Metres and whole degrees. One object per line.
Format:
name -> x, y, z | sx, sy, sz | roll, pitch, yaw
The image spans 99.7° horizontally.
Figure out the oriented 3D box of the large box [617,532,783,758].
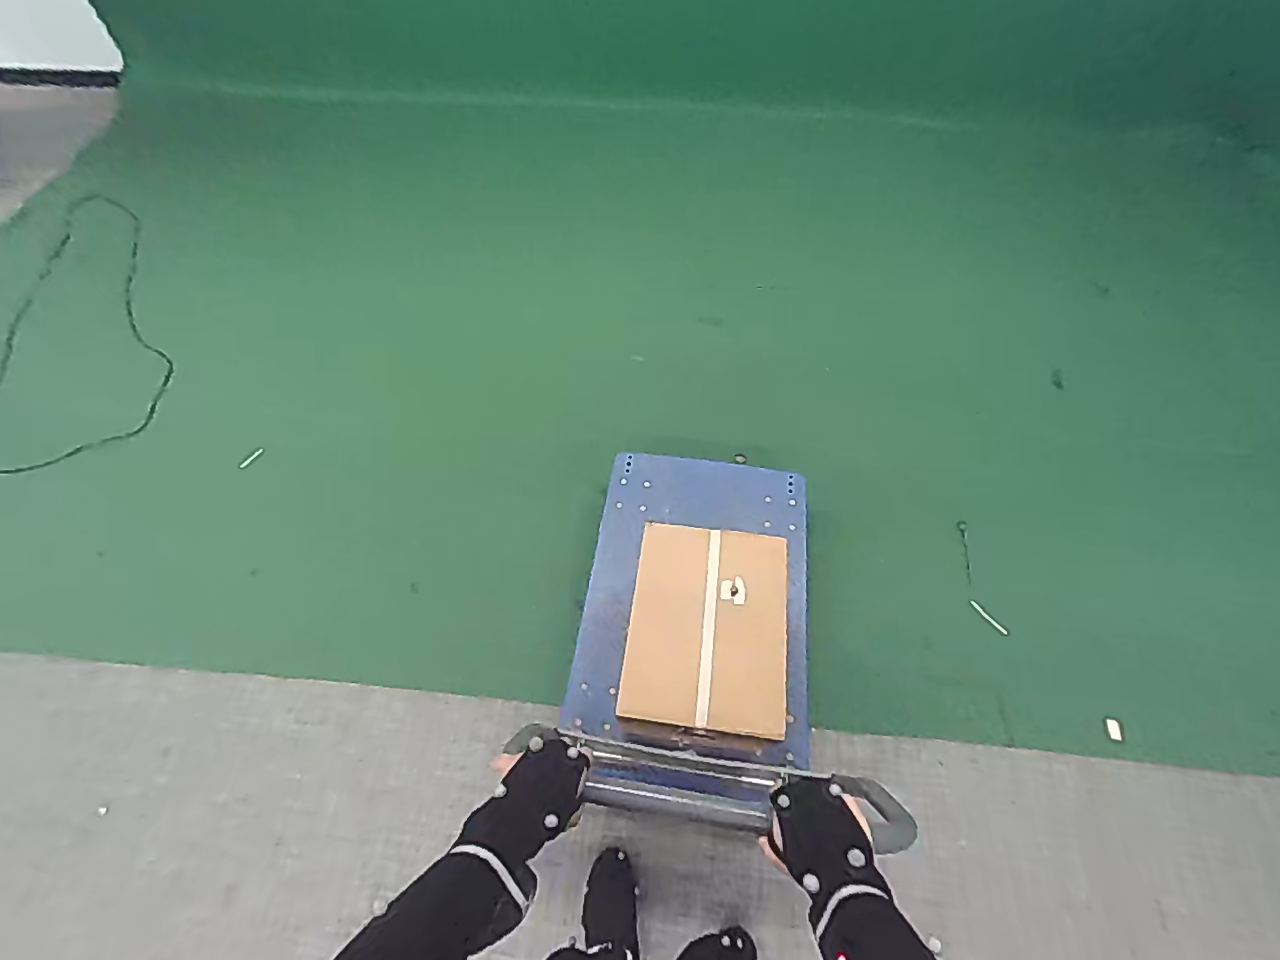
large box -> 0.137, 0.377, 1.220 | 0.320, 0.320, 0.408 | 7, 59, 5
